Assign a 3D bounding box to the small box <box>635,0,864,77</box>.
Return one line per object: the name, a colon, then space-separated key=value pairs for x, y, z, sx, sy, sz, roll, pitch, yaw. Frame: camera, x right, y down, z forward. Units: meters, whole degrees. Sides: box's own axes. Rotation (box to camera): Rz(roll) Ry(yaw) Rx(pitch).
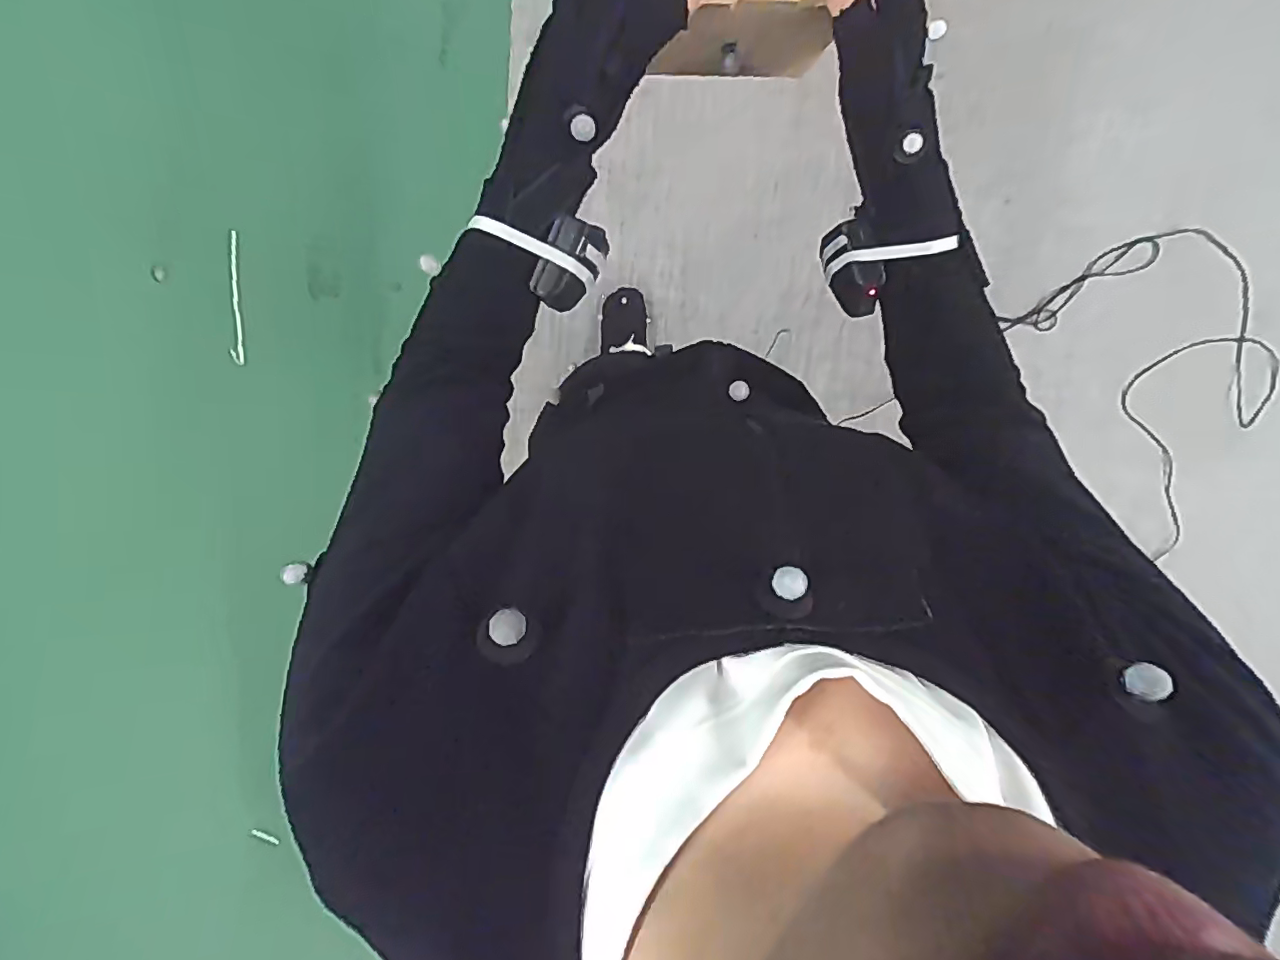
small box: x=0.082 y=-0.443 z=0.404 sx=0.168 sy=0.176 sz=0.179 roll=-1 pitch=106 yaw=-3
